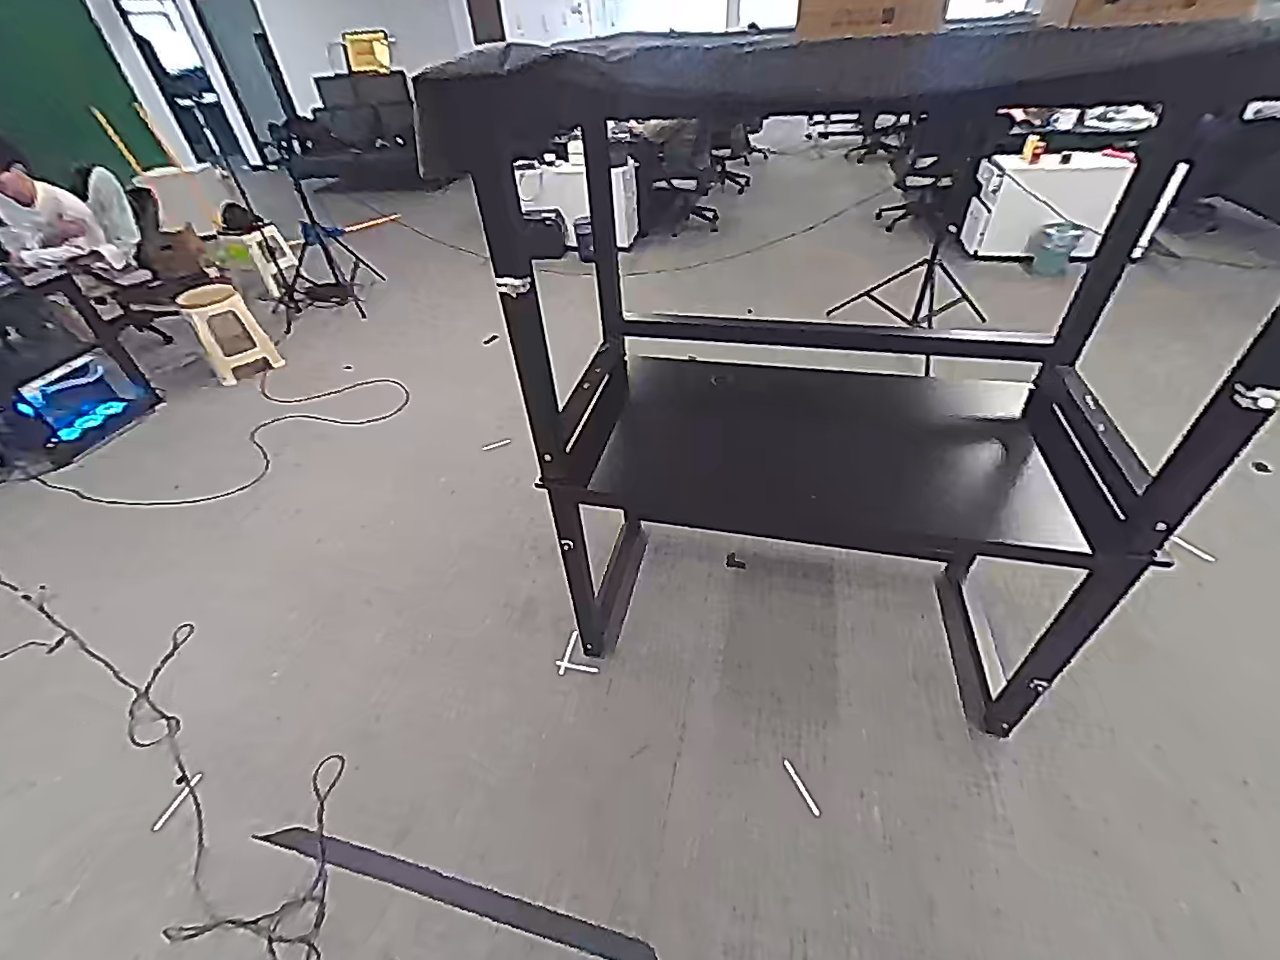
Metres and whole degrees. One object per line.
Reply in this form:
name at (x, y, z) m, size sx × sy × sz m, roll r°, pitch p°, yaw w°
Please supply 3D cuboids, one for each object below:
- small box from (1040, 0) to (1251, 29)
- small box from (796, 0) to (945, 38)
small box at (0.575, -0.609, 0.588) m, size 0.168 × 0.176 × 0.179 m, roll 10°, pitch 41°, yaw 16°
small box at (0.284, -0.642, 0.648) m, size 0.168 × 0.176 × 0.179 m, roll 7°, pitch 40°, yaw 14°
